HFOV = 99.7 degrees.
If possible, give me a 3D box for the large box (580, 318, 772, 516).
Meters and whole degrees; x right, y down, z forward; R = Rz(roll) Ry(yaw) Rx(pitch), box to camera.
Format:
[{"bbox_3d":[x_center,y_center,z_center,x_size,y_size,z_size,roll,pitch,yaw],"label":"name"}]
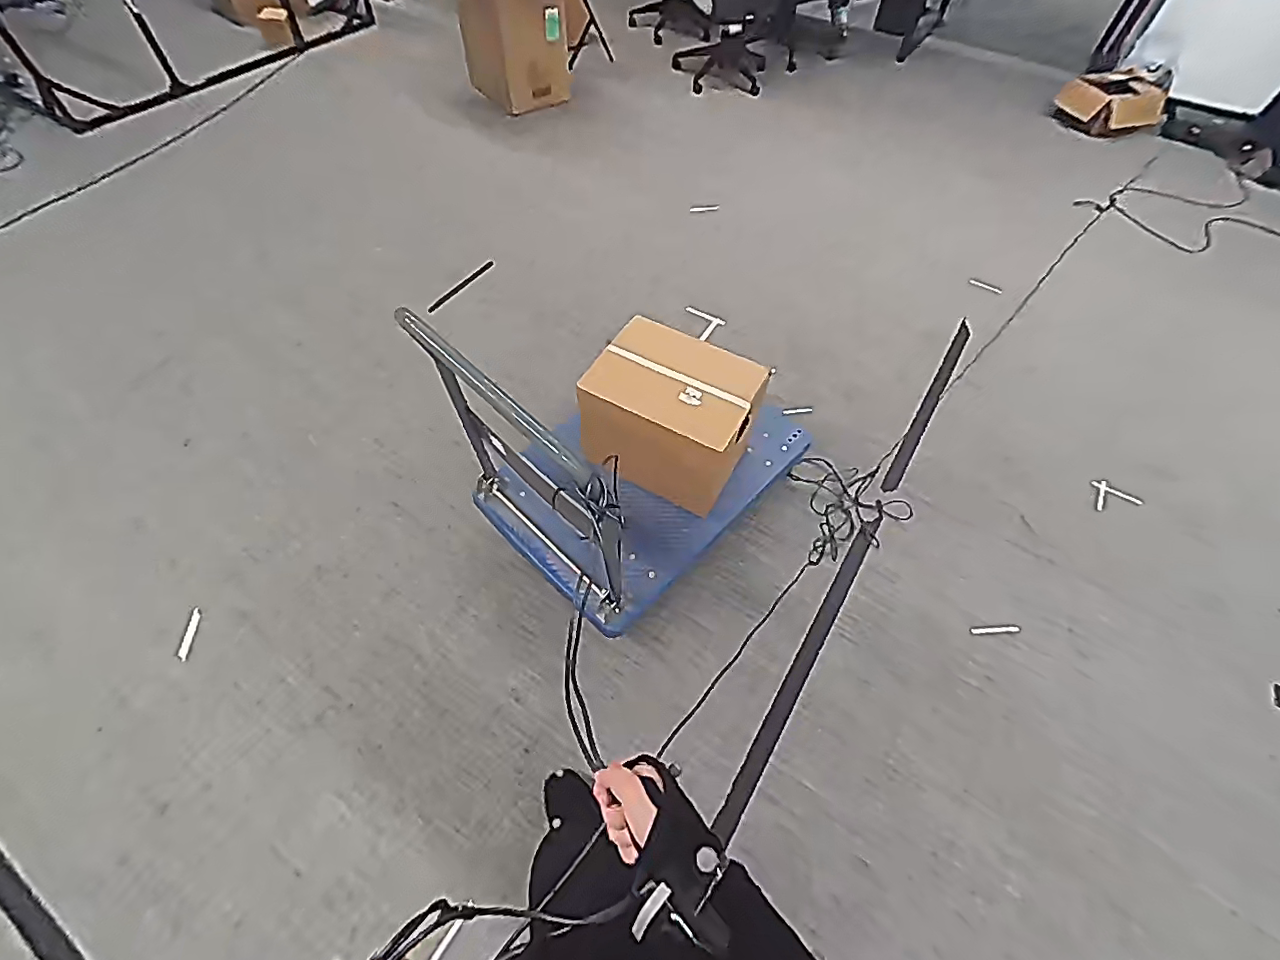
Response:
[{"bbox_3d":[0.086,-0.169,1.475,0.408,0.320,0.320,27,60,14],"label":"large box"}]
